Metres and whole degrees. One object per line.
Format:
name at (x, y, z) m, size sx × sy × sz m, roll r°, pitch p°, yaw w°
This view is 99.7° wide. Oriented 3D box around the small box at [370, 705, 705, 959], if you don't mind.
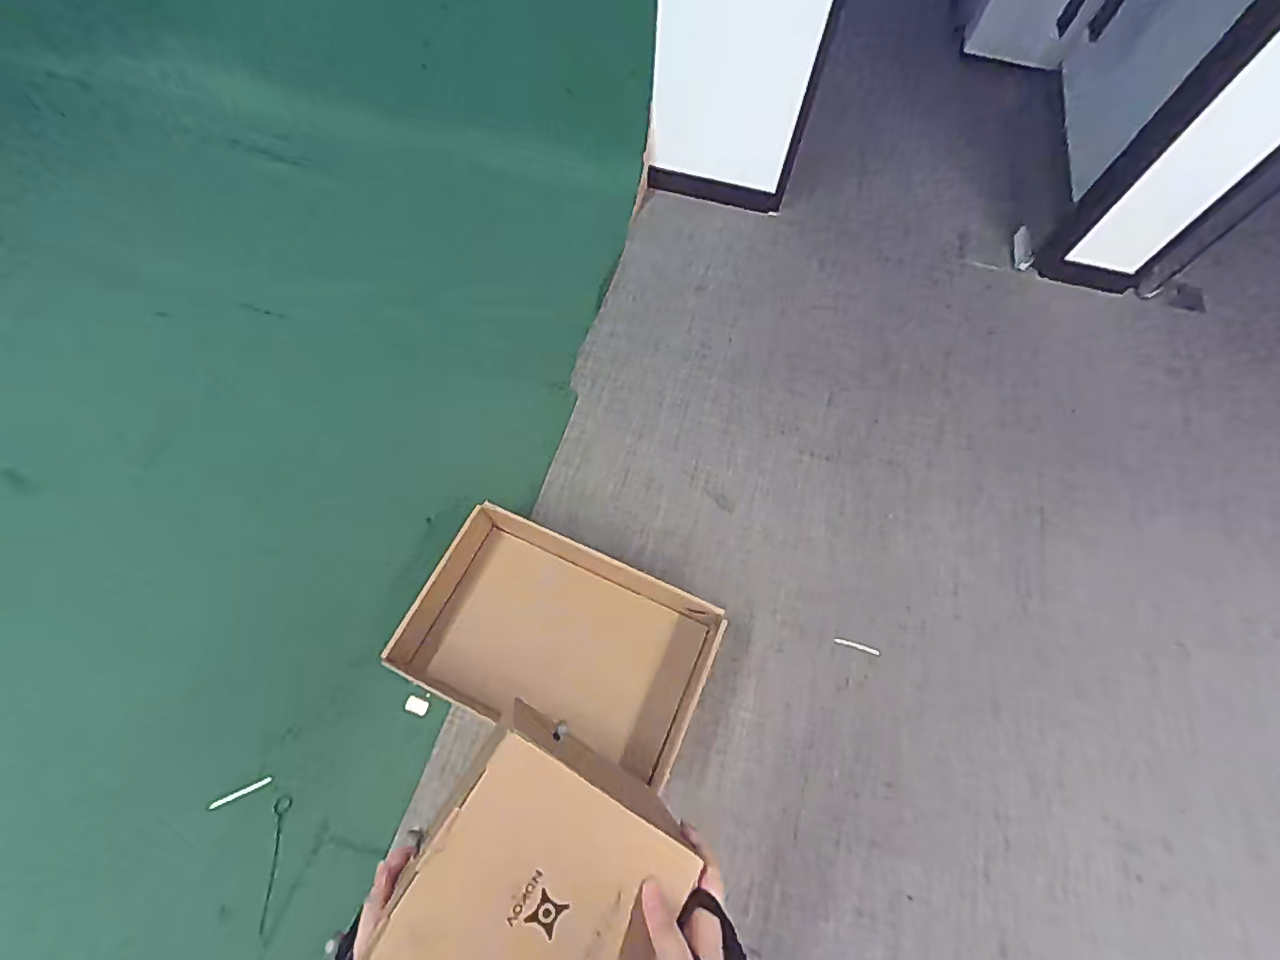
small box at (-0.080, 0.311, 0.453) m, size 0.179 × 0.176 × 0.168 m, roll 36°, pitch 72°, yaw -1°
